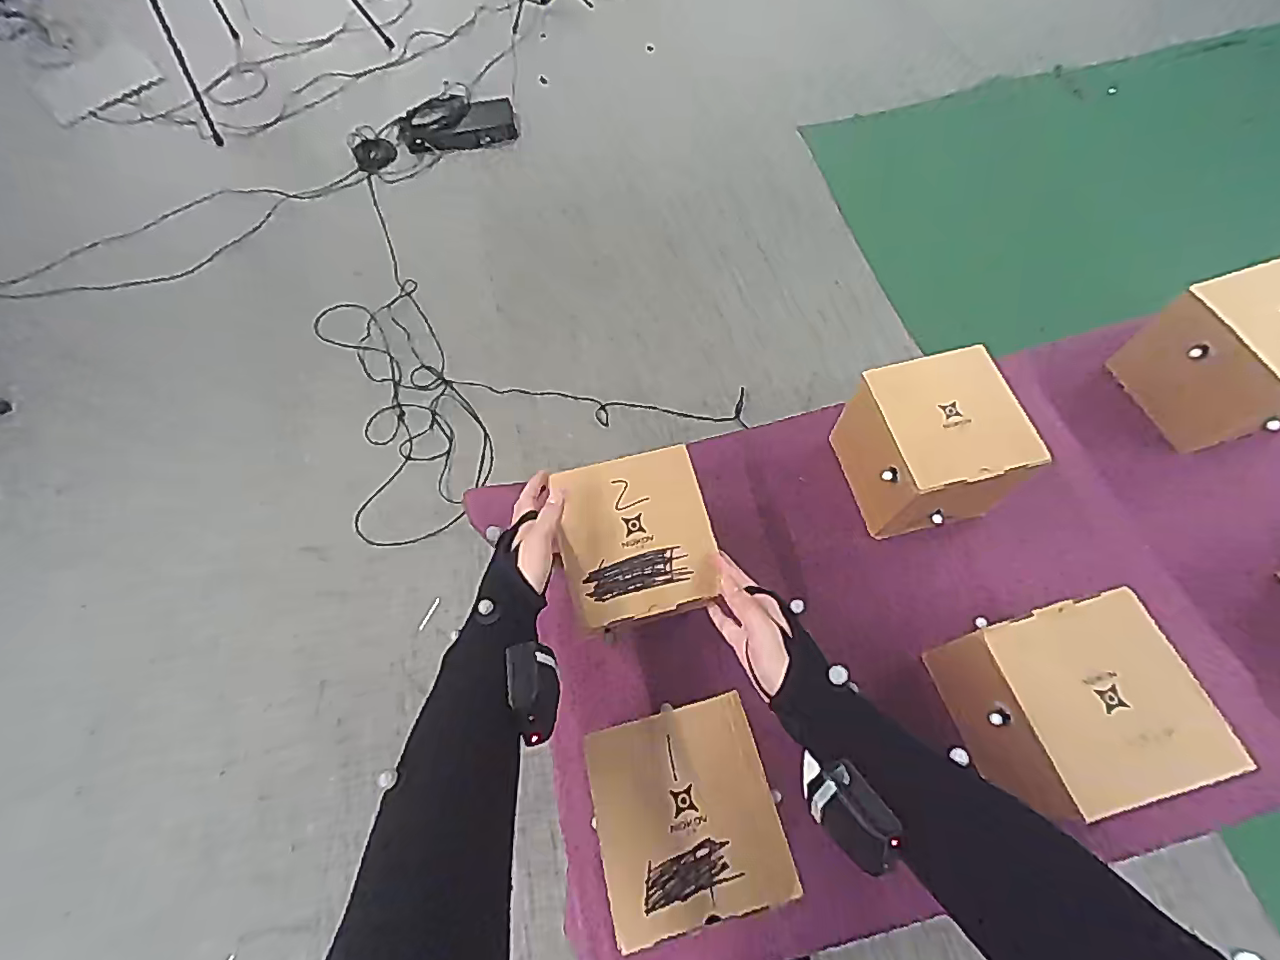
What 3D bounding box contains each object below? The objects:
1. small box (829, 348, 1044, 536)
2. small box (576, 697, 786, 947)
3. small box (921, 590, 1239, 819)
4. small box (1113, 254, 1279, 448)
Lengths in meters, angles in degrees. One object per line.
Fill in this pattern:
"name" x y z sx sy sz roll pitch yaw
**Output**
"small box" 0.376 -0.044 0.729 0.168 0.176 0.179 -14 67 -1
"small box" 0.042 0.348 0.581 0.168 0.176 0.179 -15 62 -1
"small box" 0.443 0.242 0.588 0.168 0.176 0.179 -16 64 0
"small box" 0.814 -0.171 0.734 0.168 0.176 0.179 -18 65 1
